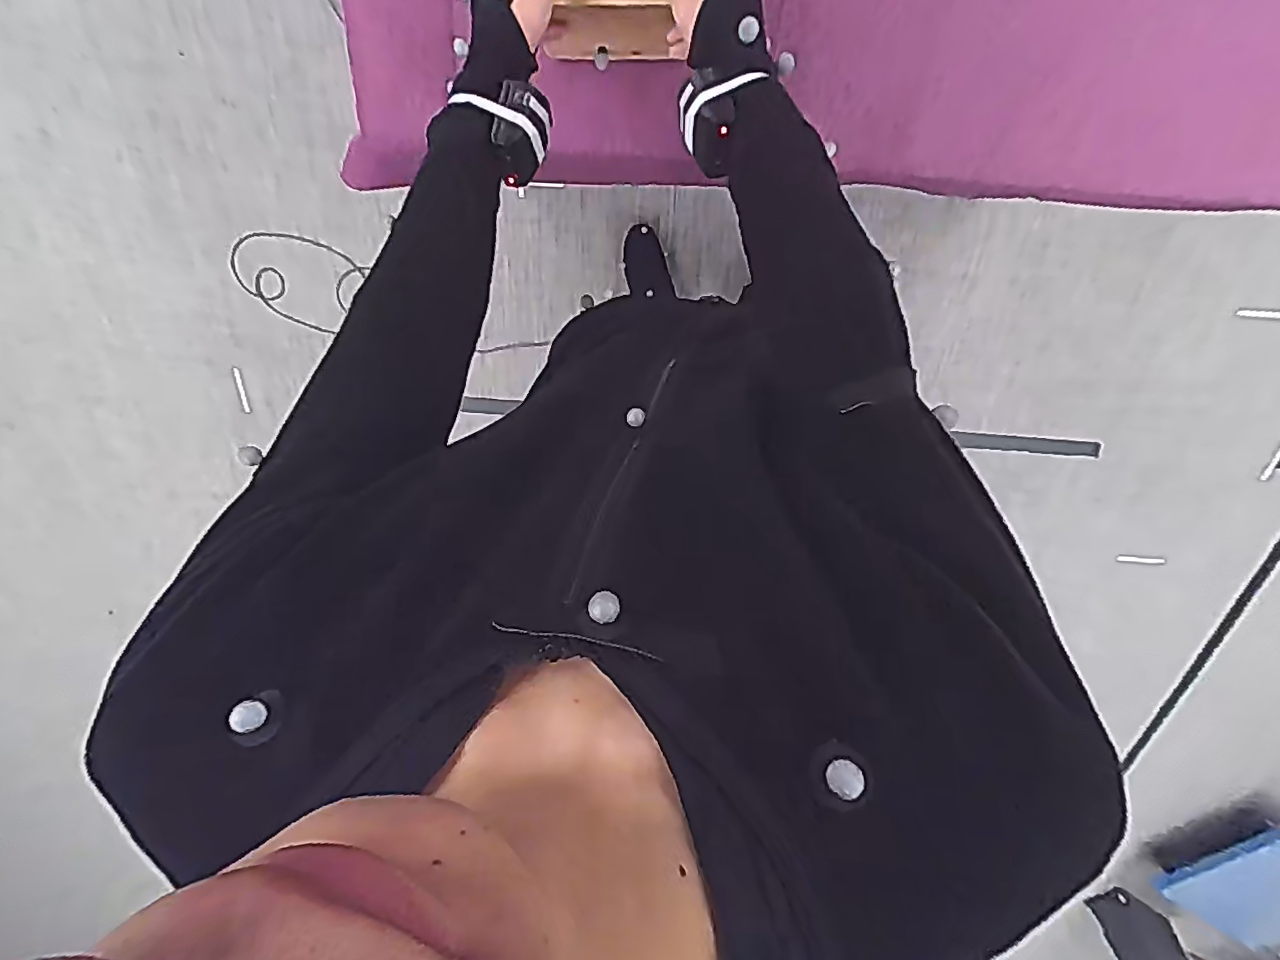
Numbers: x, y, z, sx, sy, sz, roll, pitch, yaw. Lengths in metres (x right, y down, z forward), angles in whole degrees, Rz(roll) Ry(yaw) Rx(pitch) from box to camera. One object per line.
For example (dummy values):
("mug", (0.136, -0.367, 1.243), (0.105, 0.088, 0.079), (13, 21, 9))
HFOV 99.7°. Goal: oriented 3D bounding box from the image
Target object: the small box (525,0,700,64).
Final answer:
("small box", (-0.027, -0.533, 0.517), (0.168, 0.176, 0.179), (1, 113, 1))
